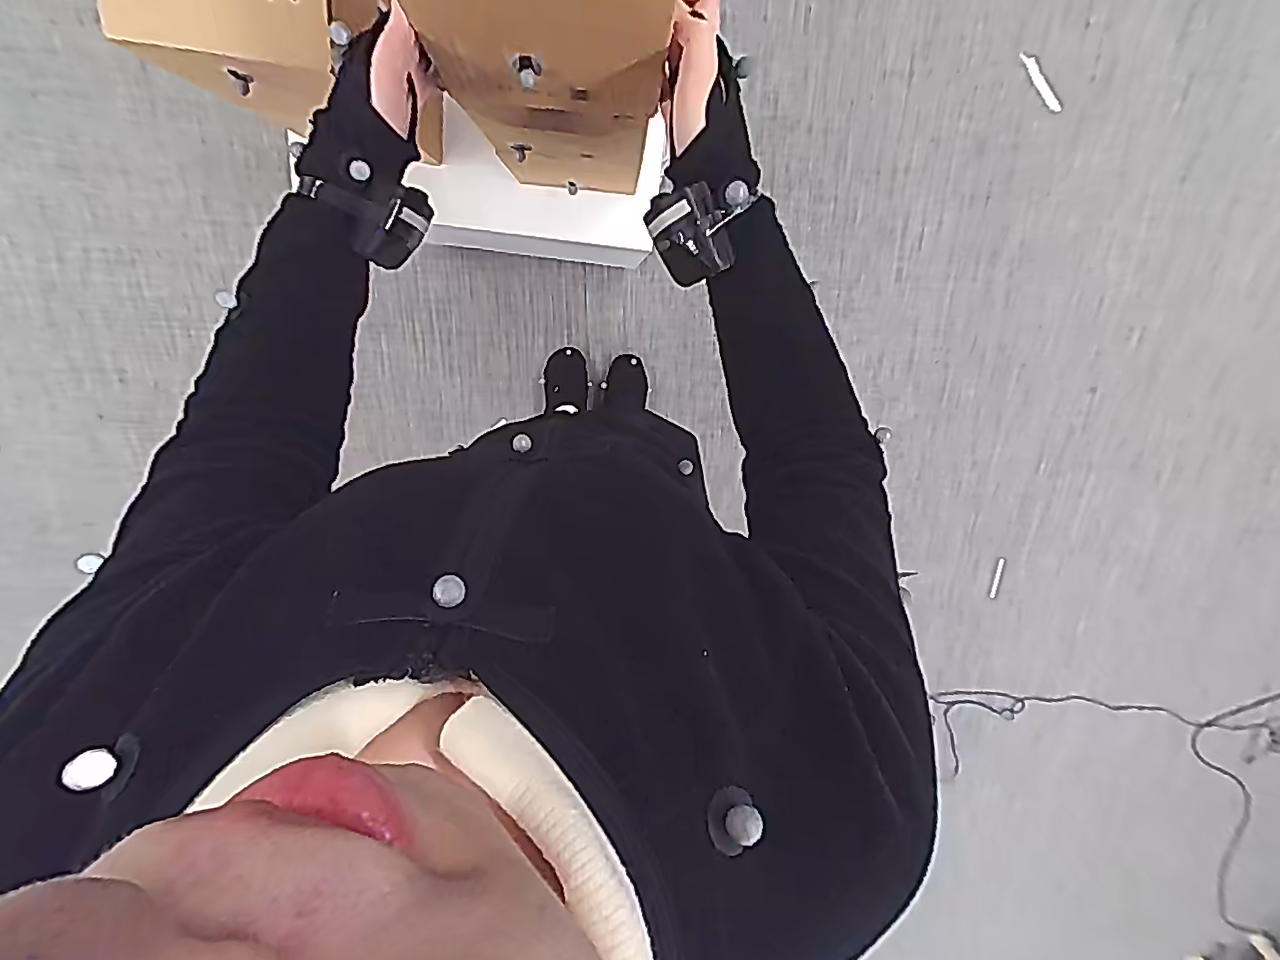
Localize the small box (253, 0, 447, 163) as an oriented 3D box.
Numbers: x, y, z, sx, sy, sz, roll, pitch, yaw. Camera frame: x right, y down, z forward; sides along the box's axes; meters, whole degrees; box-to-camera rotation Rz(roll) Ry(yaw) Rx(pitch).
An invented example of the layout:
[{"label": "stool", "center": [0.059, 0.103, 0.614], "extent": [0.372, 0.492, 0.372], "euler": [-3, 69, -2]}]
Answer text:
[{"label": "small box", "center": [-0.333, -0.499, 0.632], "extent": [0.168, 0.176, 0.179], "euler": [6, 108, -5]}]

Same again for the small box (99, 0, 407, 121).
[{"label": "small box", "center": [-0.325, -0.442, 0.477], "extent": [0.179, 0.176, 0.168], "euler": [5, 110, -6]}]

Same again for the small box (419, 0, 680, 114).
[{"label": "small box", "center": [-0.056, -0.369, 0.335], "extent": [0.168, 0.176, 0.179], "euler": [3, 101, -4]}]

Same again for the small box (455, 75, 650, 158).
[{"label": "small box", "center": [-0.066, -0.419, 0.500], "extent": [0.168, 0.176, 0.179], "euler": [4, 108, -4]}]
